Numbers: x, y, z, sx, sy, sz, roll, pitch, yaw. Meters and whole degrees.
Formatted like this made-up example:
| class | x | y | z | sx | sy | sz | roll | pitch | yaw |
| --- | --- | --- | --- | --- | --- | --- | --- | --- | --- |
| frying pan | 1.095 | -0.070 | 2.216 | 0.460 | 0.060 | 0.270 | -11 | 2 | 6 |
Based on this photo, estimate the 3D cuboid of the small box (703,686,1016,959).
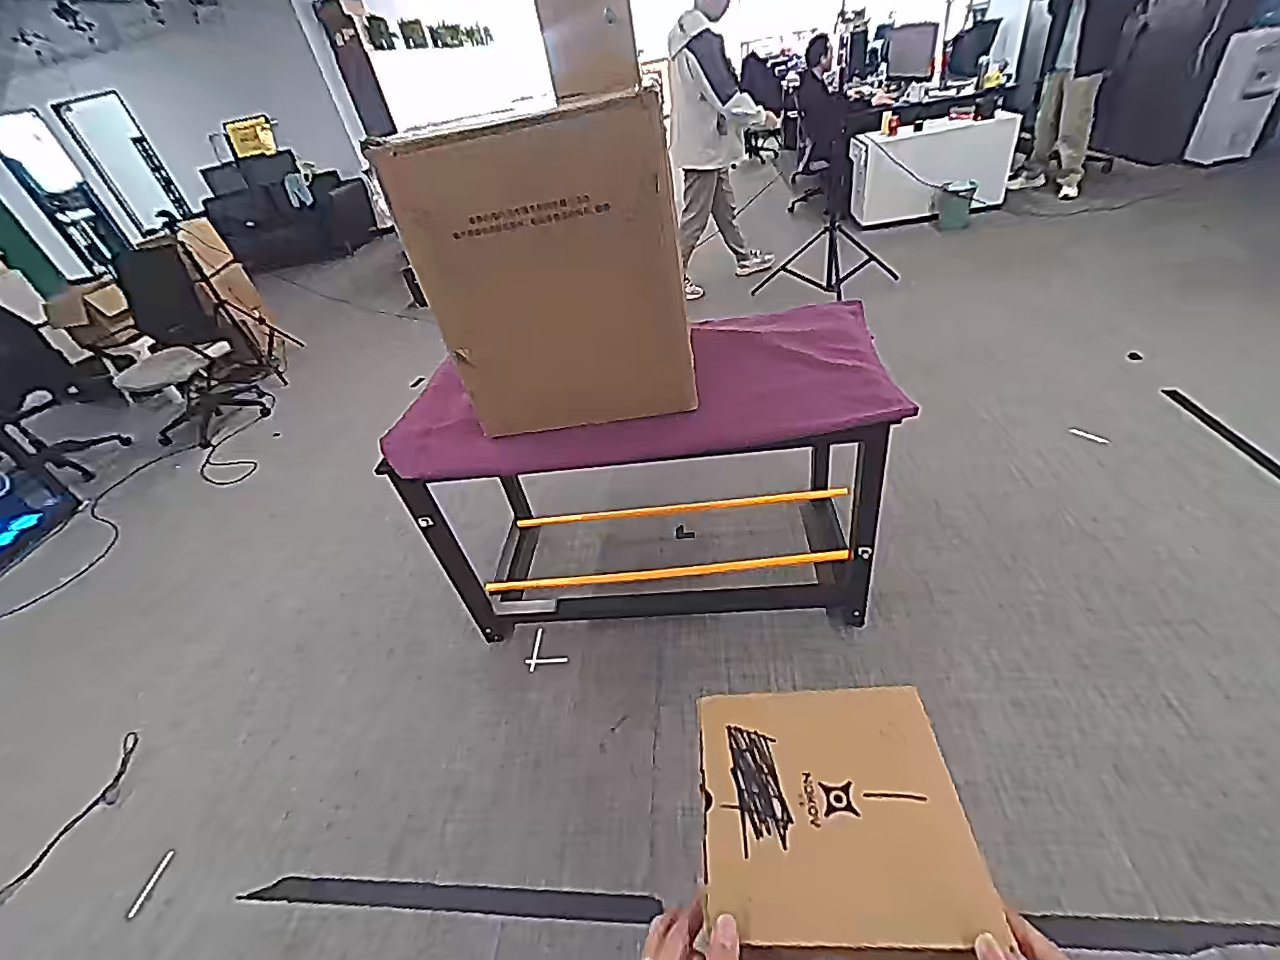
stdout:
| class | x | y | z | sx | sy | sz | roll | pitch | yaw |
| --- | --- | --- | --- | --- | --- | --- | --- | --- | --- |
| small box | 0.148 | 0.287 | 0.425 | 0.179 | 0.176 | 0.168 | -6 | 35 | 8 |
